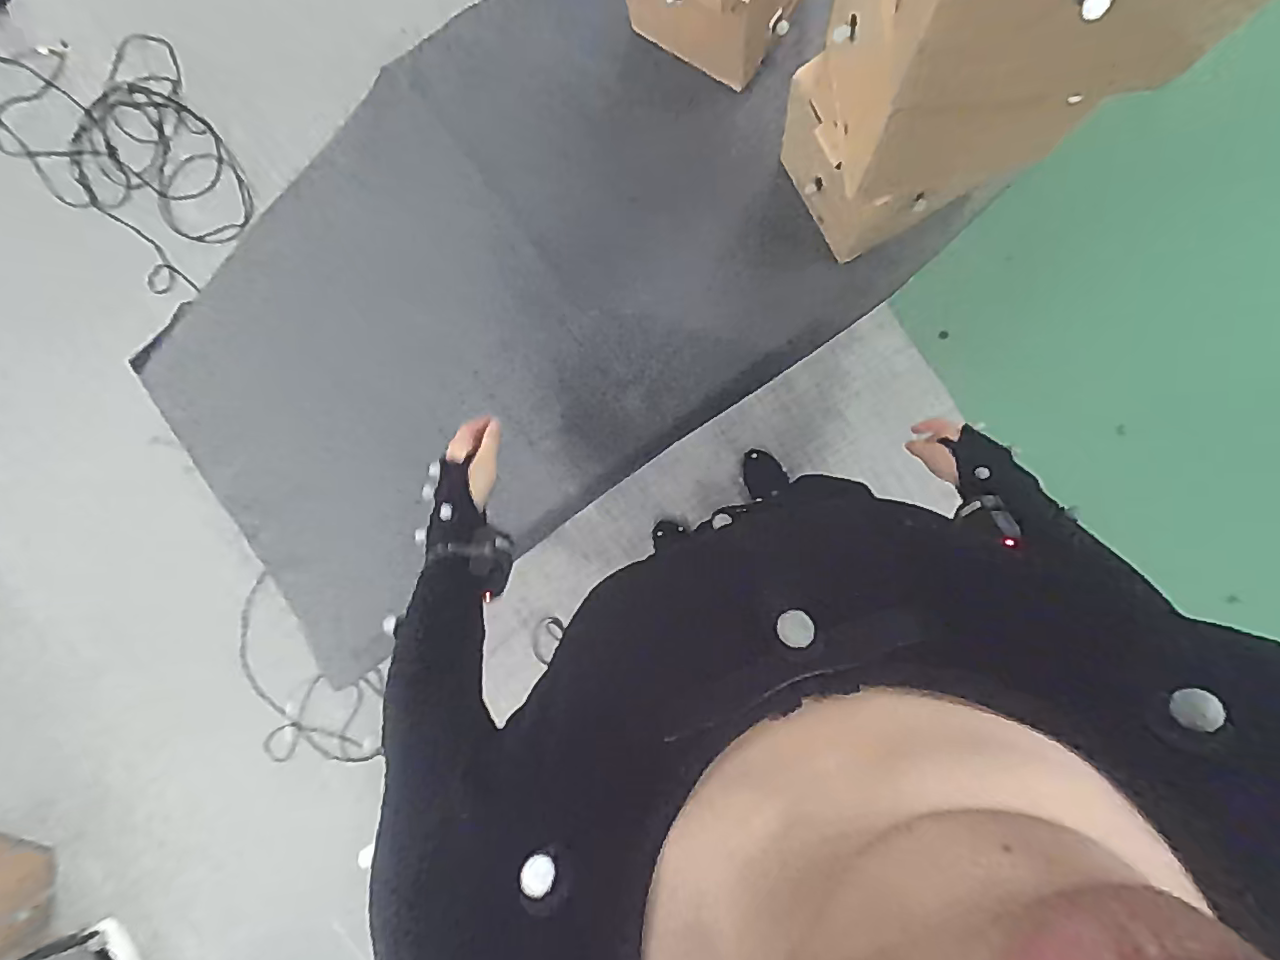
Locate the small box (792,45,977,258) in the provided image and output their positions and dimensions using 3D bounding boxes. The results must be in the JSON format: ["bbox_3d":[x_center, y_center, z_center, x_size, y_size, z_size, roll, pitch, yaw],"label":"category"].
[{"bbox_3d":[0.284,-0.383,0.605,0.179,0.176,0.168,-29,88,11],"label":"small box"}]

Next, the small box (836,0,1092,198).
[{"bbox_3d":[0.267,-0.361,0.444,0.179,0.176,0.168,-7,92,10],"label":"small box"}]

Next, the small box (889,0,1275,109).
[{"bbox_3d":[0.250,-0.329,0.281,0.179,0.176,0.168,3,94,10],"label":"small box"}]

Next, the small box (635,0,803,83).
[{"bbox_3d":[0.097,-0.606,0.614,0.179,0.176,0.168,33,102,3],"label":"small box"}]
